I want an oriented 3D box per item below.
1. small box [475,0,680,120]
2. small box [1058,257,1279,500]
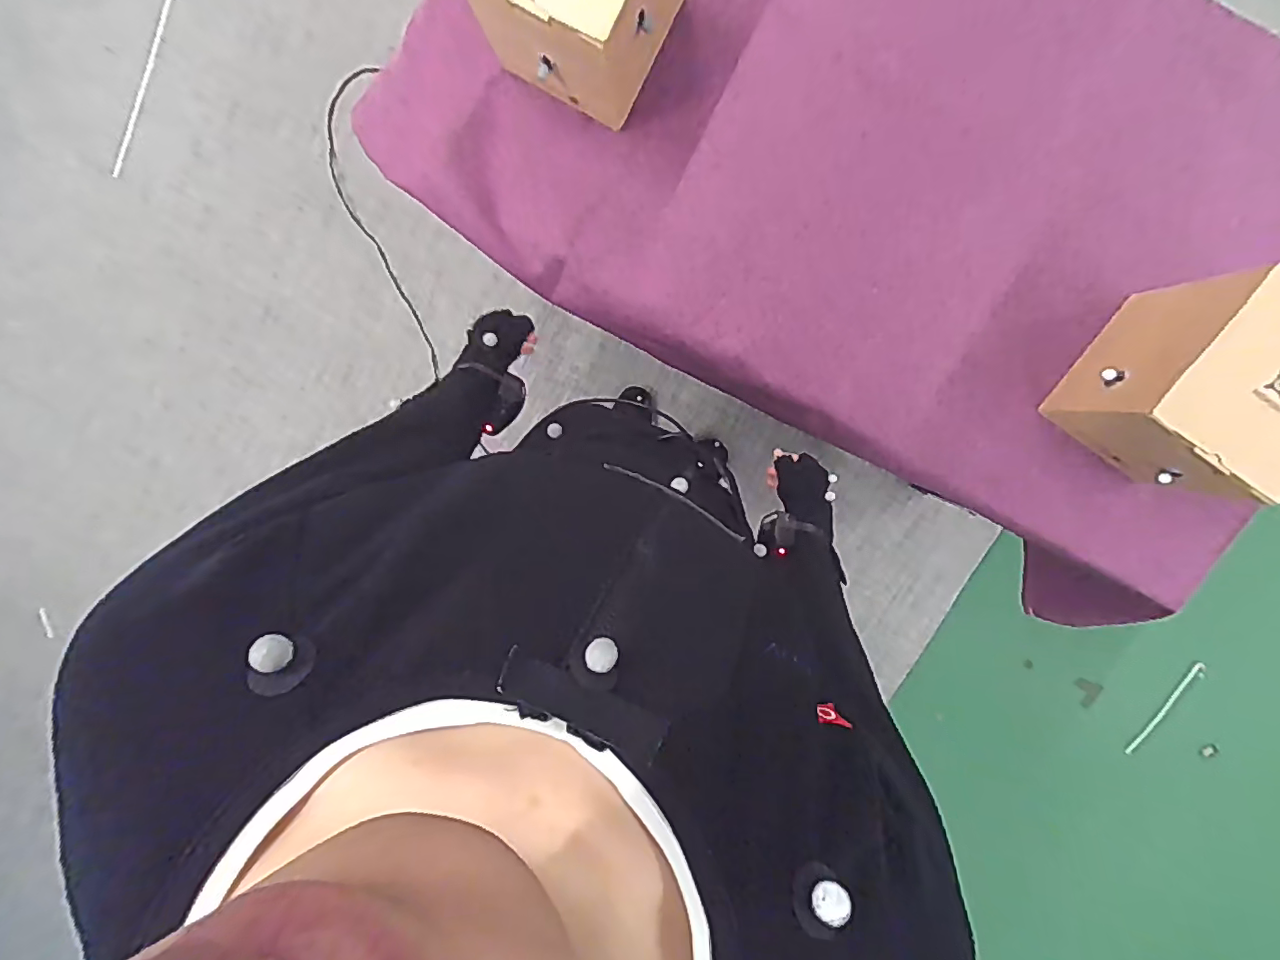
[{"bbox_3d":[-0.059,-0.530,0.568,0.168,0.176,0.179,28,100,-2],"label":"small box"},{"bbox_3d":[0.617,-0.105,0.595,0.168,0.176,0.179,35,99,-2],"label":"small box"}]
